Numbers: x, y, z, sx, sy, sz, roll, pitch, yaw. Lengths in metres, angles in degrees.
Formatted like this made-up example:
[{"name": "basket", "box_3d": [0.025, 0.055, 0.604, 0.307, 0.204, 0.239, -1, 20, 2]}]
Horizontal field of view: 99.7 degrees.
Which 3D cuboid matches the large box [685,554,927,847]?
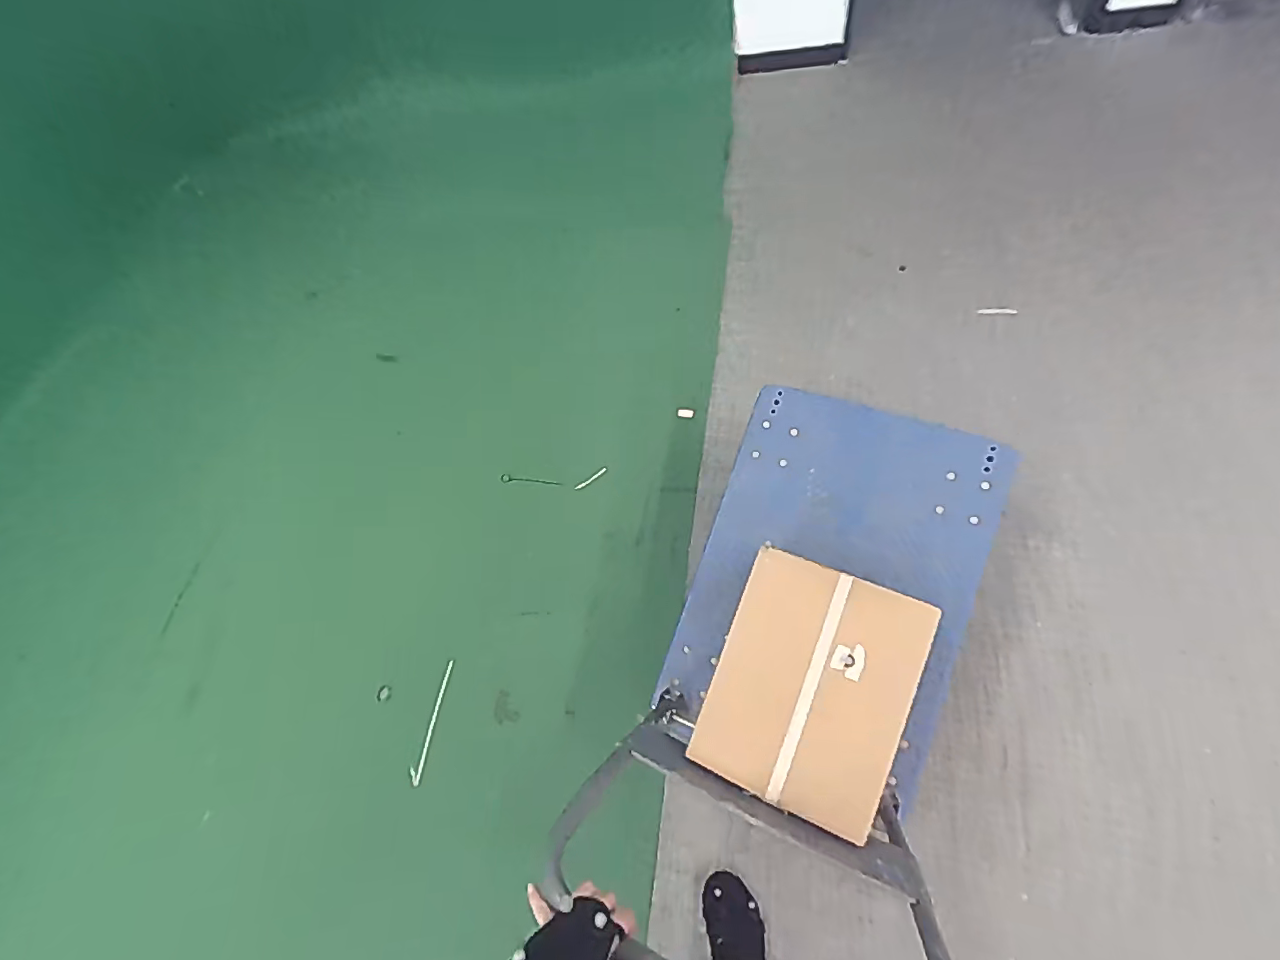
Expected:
[{"name": "large box", "box_3d": [0.325, 0.400, 1.083, 0.320, 0.320, 0.408, 20, 84, 19]}]
